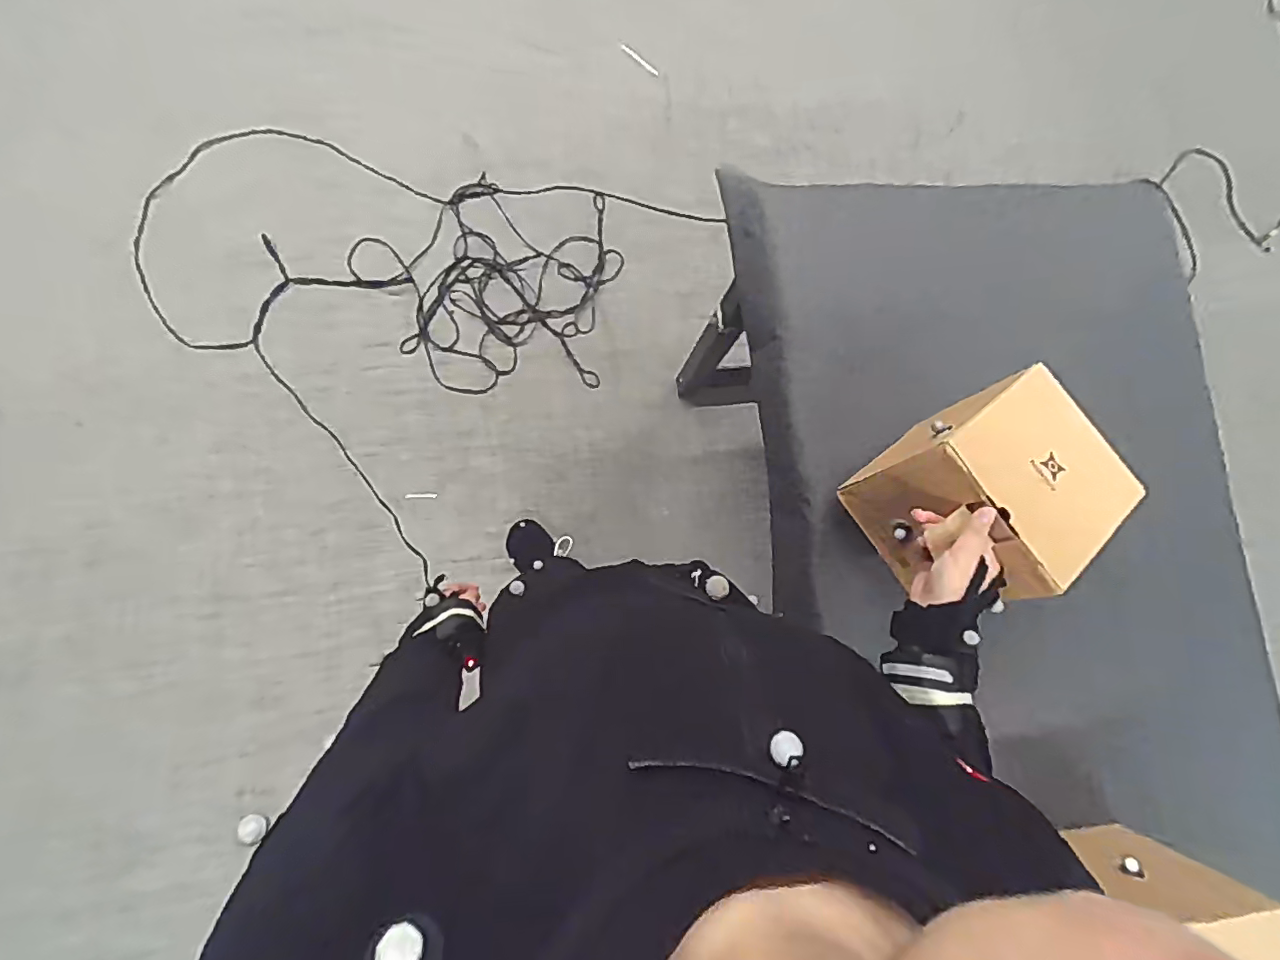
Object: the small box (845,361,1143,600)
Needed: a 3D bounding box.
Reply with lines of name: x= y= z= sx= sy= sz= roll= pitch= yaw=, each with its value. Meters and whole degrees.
small box: x=0.361 y=0.009 z=0.577 sx=0.179 sy=0.176 sz=0.168 roll=-34 pitch=85 yaw=-22
